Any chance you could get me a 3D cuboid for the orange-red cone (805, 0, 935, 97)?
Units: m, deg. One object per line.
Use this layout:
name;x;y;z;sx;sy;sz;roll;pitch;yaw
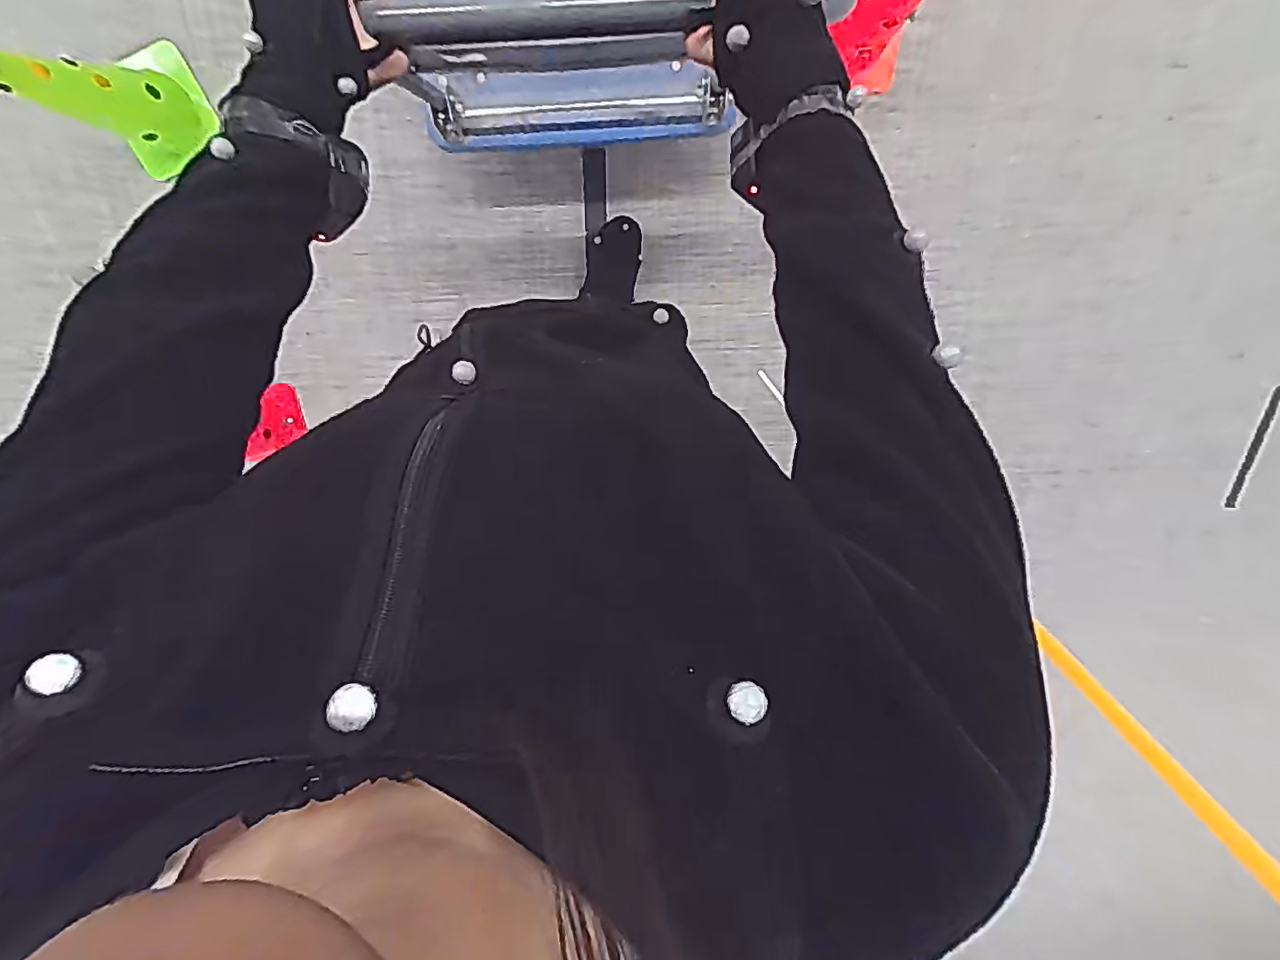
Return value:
orange-red cone;0.457;-0.838;0.947;0.199;0.360;0.198;4;114;-5
